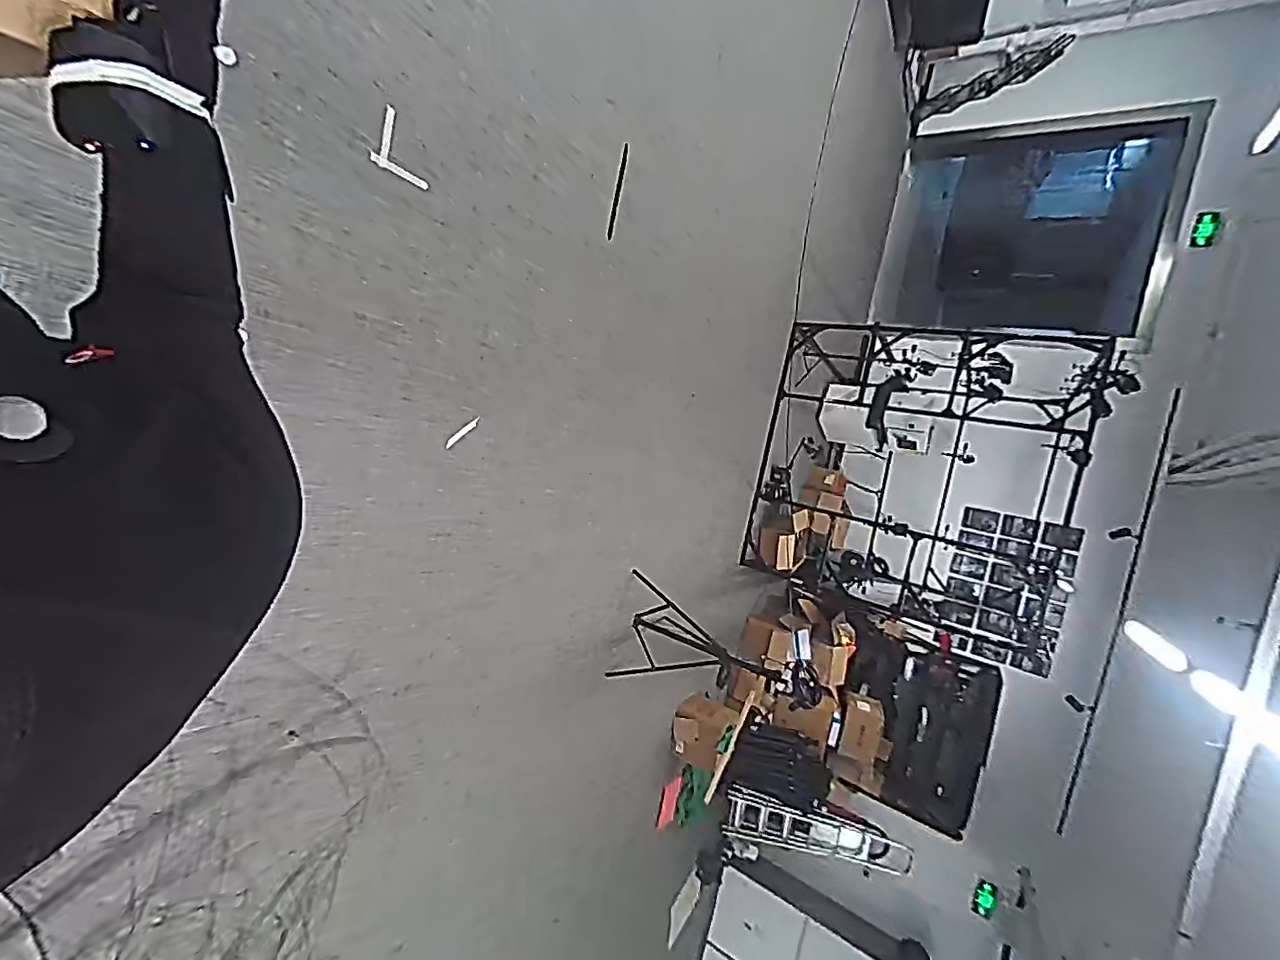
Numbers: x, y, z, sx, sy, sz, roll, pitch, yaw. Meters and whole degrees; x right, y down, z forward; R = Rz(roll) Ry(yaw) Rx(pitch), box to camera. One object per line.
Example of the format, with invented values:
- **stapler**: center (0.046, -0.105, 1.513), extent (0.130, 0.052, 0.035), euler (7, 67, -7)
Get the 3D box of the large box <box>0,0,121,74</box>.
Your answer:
- **large box**: center (-0.554, -0.464, 0.245), extent (0.408, 0.320, 0.320), euler (-7, 117, -60)
